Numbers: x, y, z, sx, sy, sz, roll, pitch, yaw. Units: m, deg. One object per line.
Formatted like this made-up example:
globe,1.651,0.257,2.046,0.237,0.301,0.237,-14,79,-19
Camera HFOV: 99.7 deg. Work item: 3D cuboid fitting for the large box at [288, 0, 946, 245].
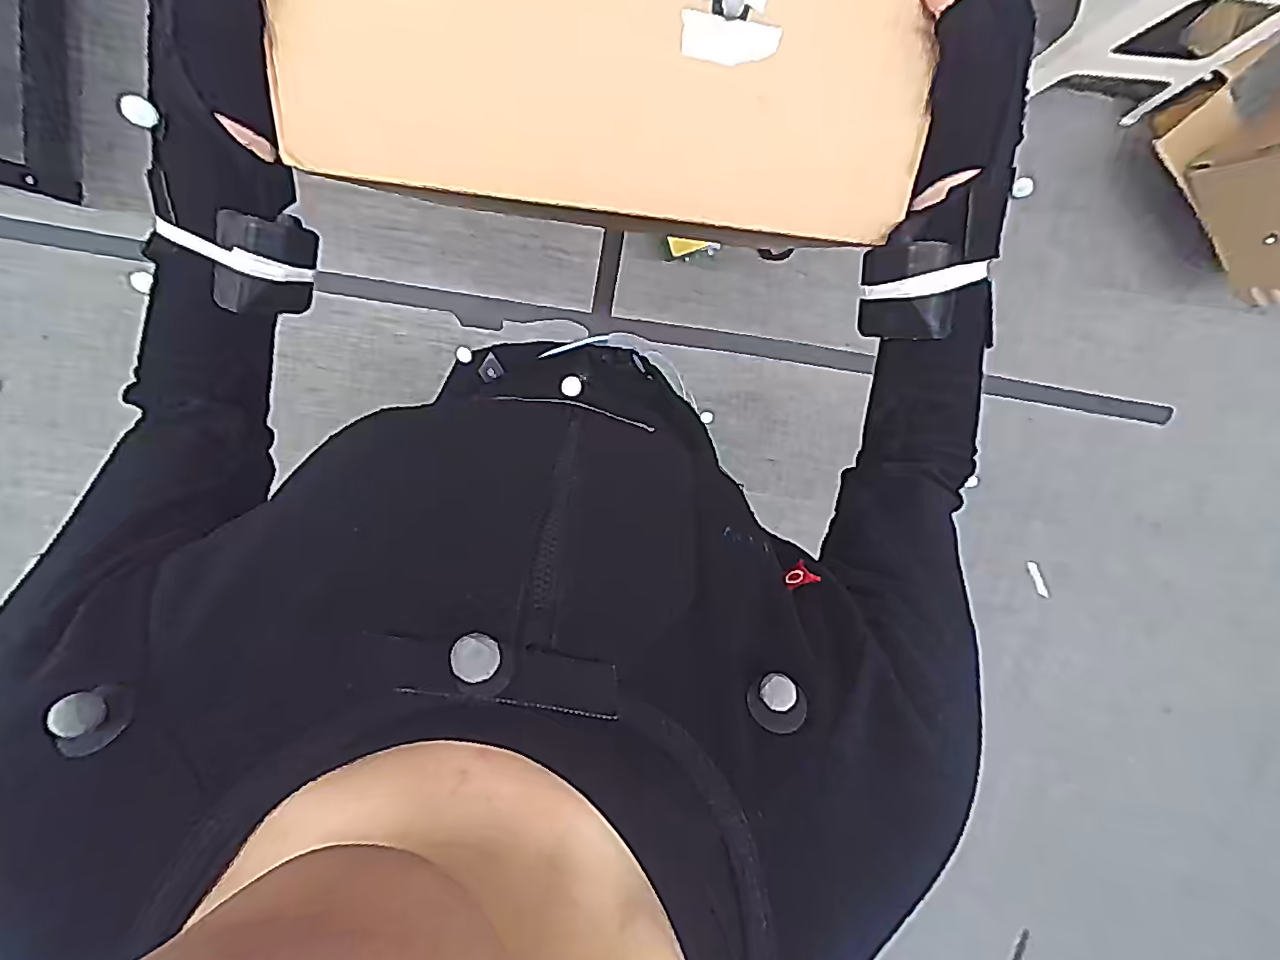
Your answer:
large box,-0.013,-0.384,0.449,0.408,0.320,0.320,5,114,-5
